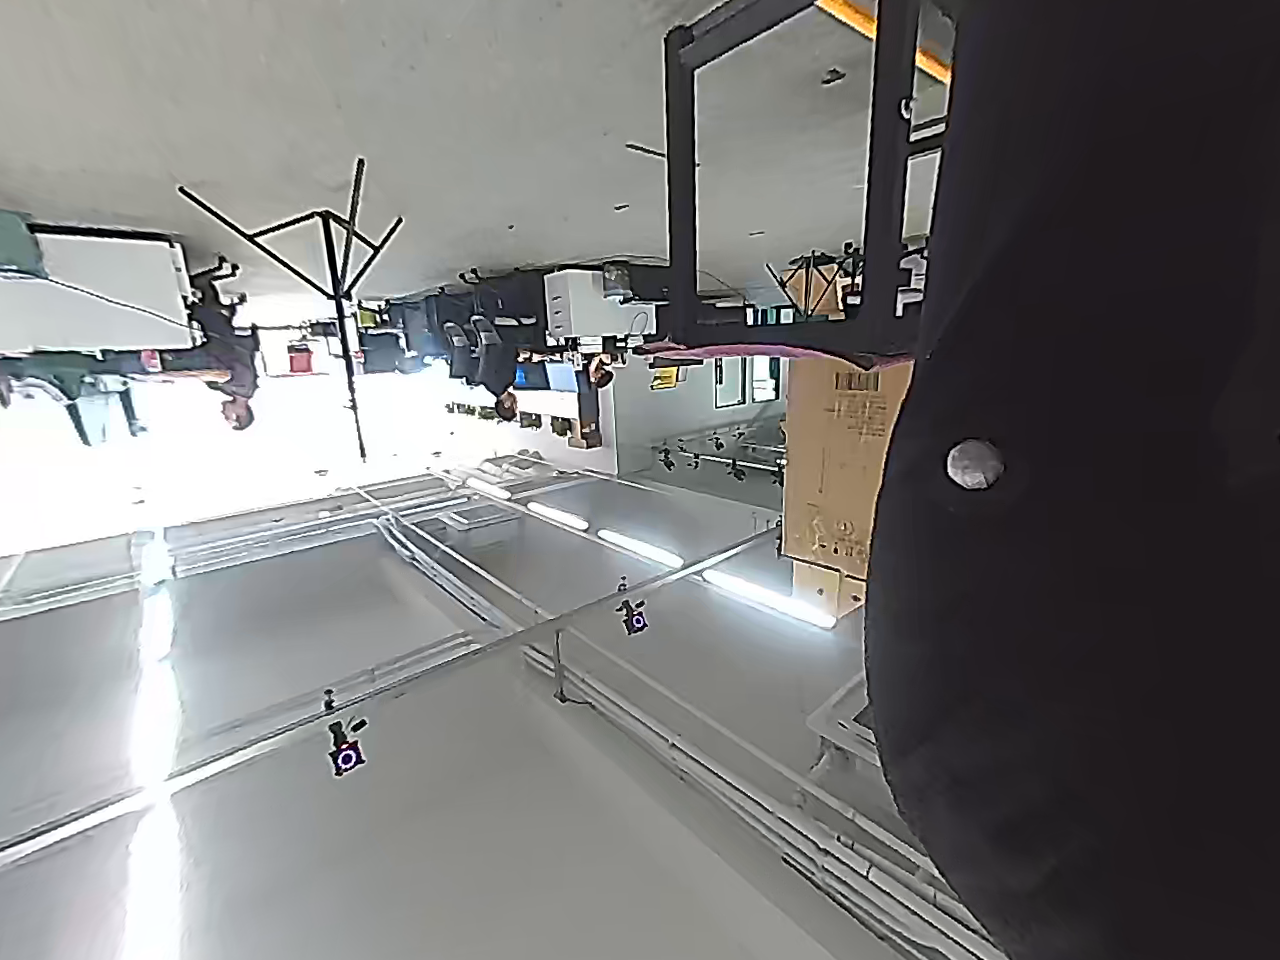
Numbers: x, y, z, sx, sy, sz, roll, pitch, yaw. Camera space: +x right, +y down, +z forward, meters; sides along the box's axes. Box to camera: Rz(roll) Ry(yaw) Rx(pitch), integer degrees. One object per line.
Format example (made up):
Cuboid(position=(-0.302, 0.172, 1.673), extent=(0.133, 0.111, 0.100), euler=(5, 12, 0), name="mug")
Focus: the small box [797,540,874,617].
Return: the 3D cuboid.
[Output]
Cuboid(position=(0.612, 0.300, 1.697), extent=(0.179, 0.176, 0.168), euler=(-15, -161, -34), name="small box")
